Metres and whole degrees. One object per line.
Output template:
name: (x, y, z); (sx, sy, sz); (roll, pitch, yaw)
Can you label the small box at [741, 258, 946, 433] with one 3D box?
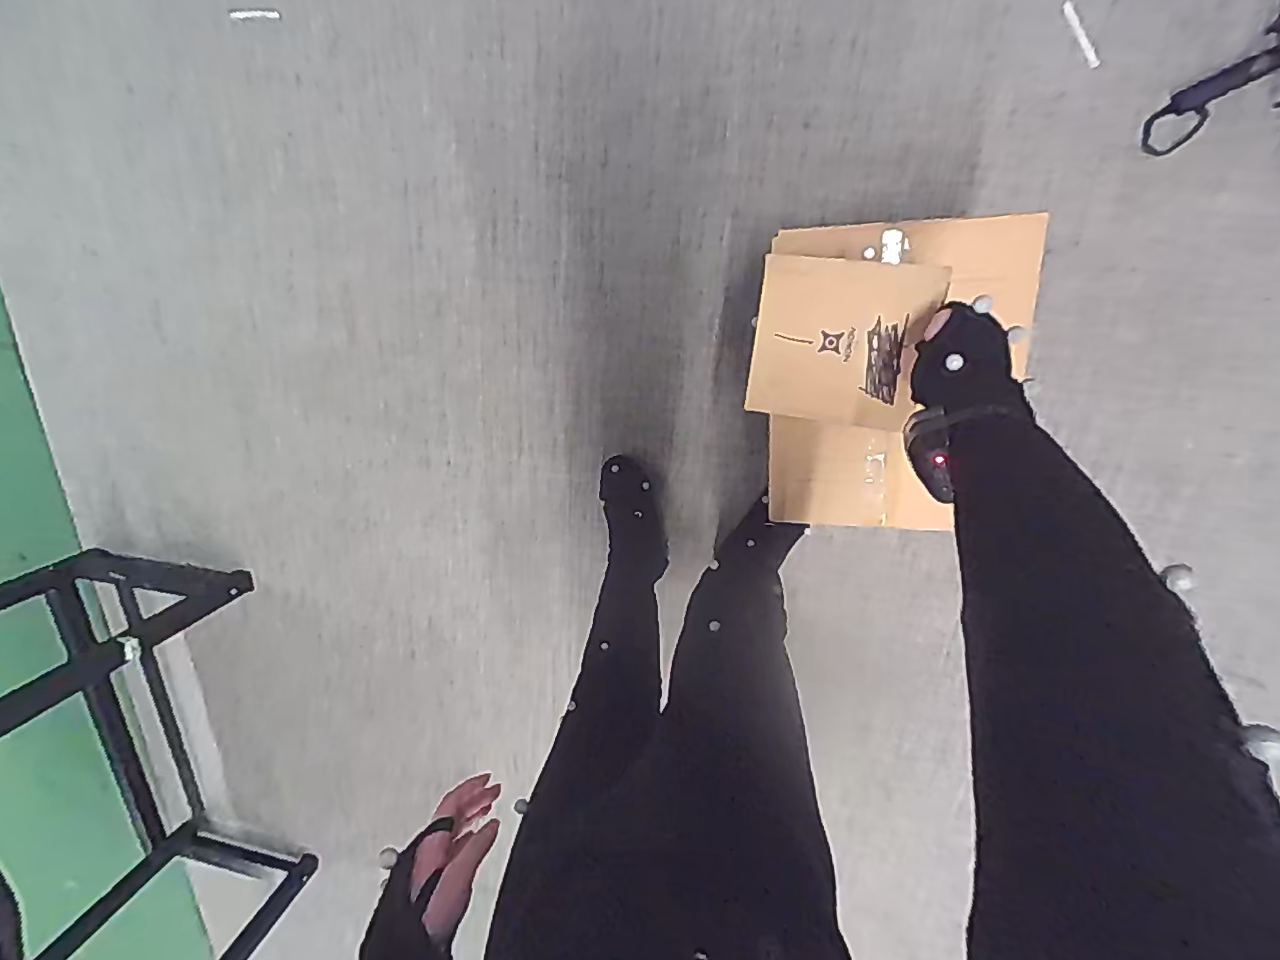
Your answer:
small box: (0.227, -0.164, 0.633); (0.179, 0.176, 0.168); (10, 111, 16)
